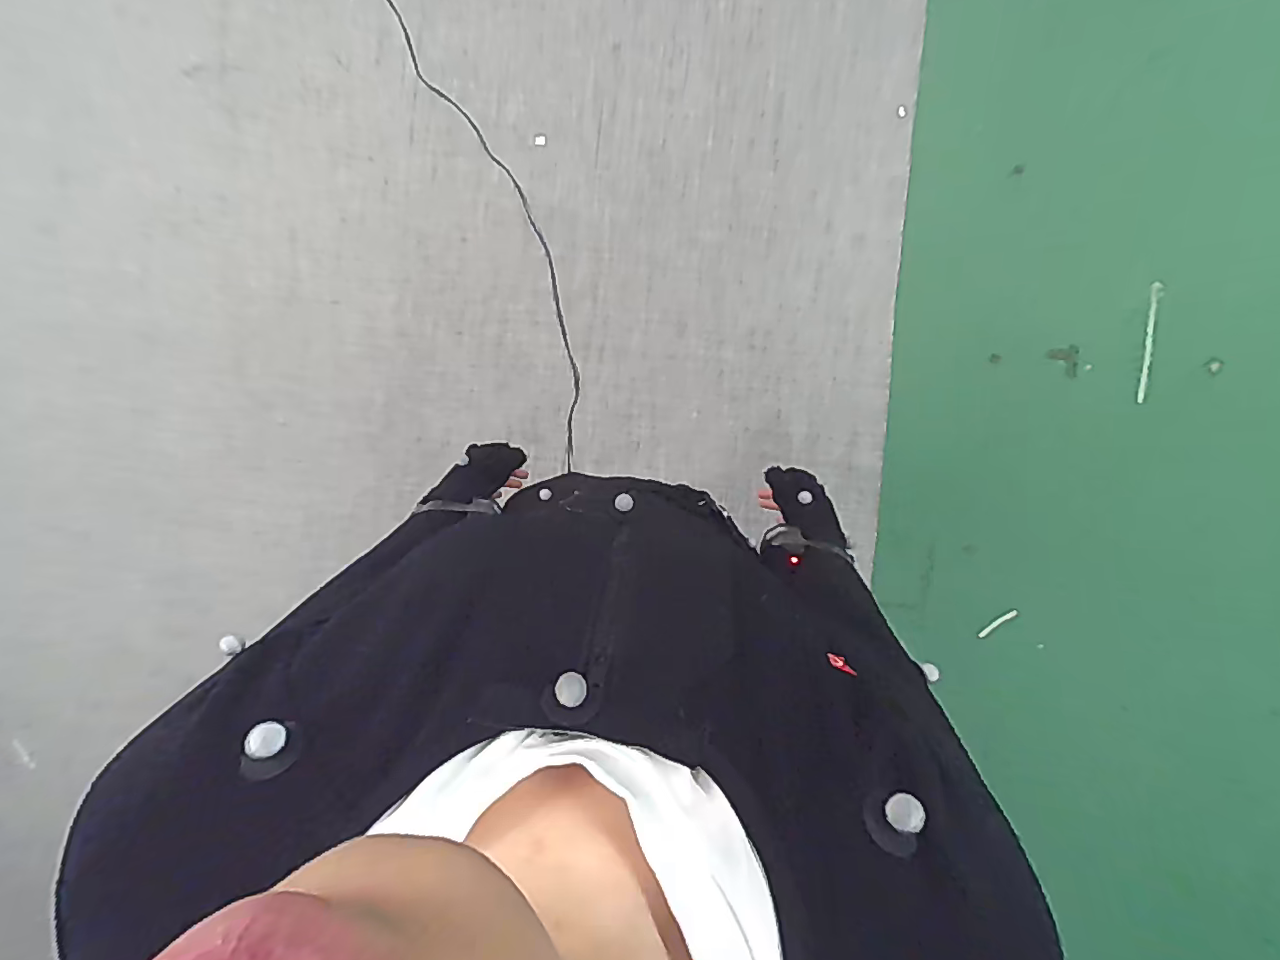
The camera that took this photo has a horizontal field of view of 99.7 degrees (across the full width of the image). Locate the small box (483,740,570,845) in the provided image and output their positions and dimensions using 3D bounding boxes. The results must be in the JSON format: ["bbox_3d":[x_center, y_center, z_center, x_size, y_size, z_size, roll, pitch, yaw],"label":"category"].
[{"bbox_3d":[-0.288,0.801,1.405,0.179,0.176,0.168,7,91,1],"label":"small box"}]
